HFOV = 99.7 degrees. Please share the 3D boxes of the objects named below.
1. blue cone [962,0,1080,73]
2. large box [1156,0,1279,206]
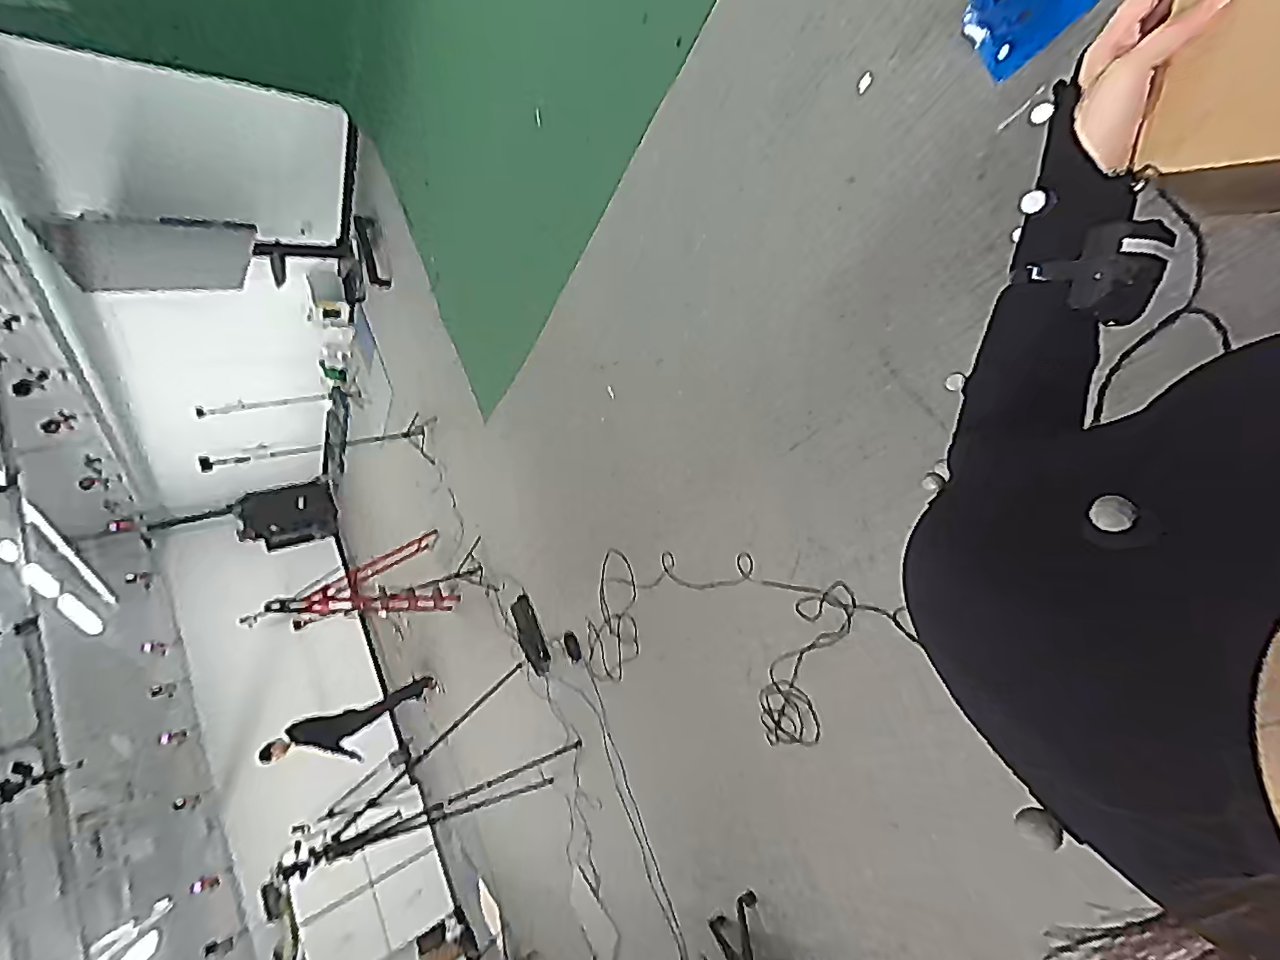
[{"bbox_3d":[0.689,-0.986,1.060,0.193,0.380,0.192,-29,78,51],"label":"blue cone"},{"bbox_3d":[0.597,-0.350,0.277,0.408,0.320,0.320,22,118,47],"label":"large box"}]
